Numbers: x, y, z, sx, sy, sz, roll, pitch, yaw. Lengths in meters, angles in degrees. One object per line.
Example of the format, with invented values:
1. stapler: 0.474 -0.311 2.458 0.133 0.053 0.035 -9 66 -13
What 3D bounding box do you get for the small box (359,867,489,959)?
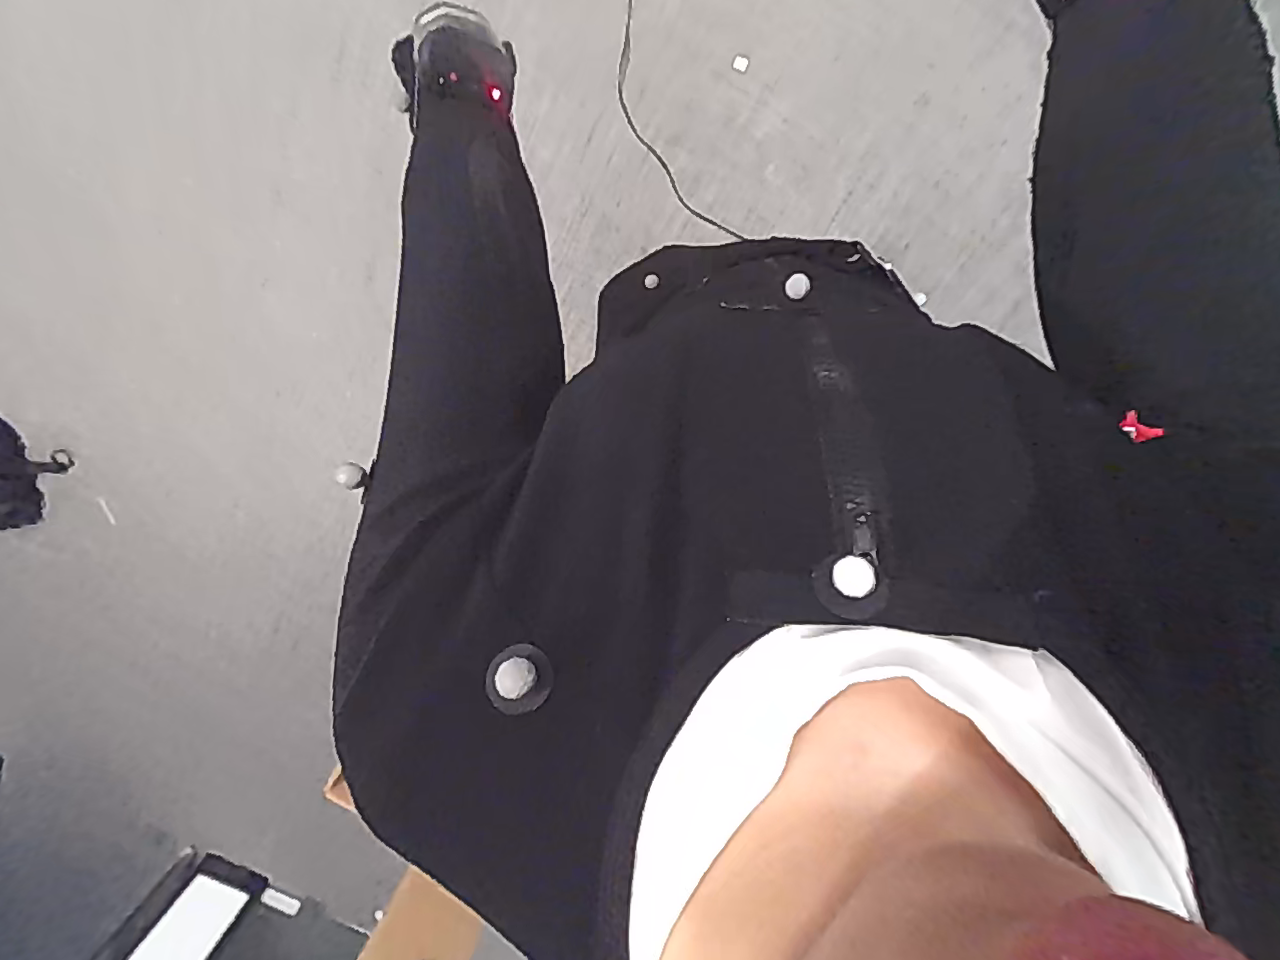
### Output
1. small box: -0.422 0.900 1.043 0.179 0.176 0.168 33 112 -3
